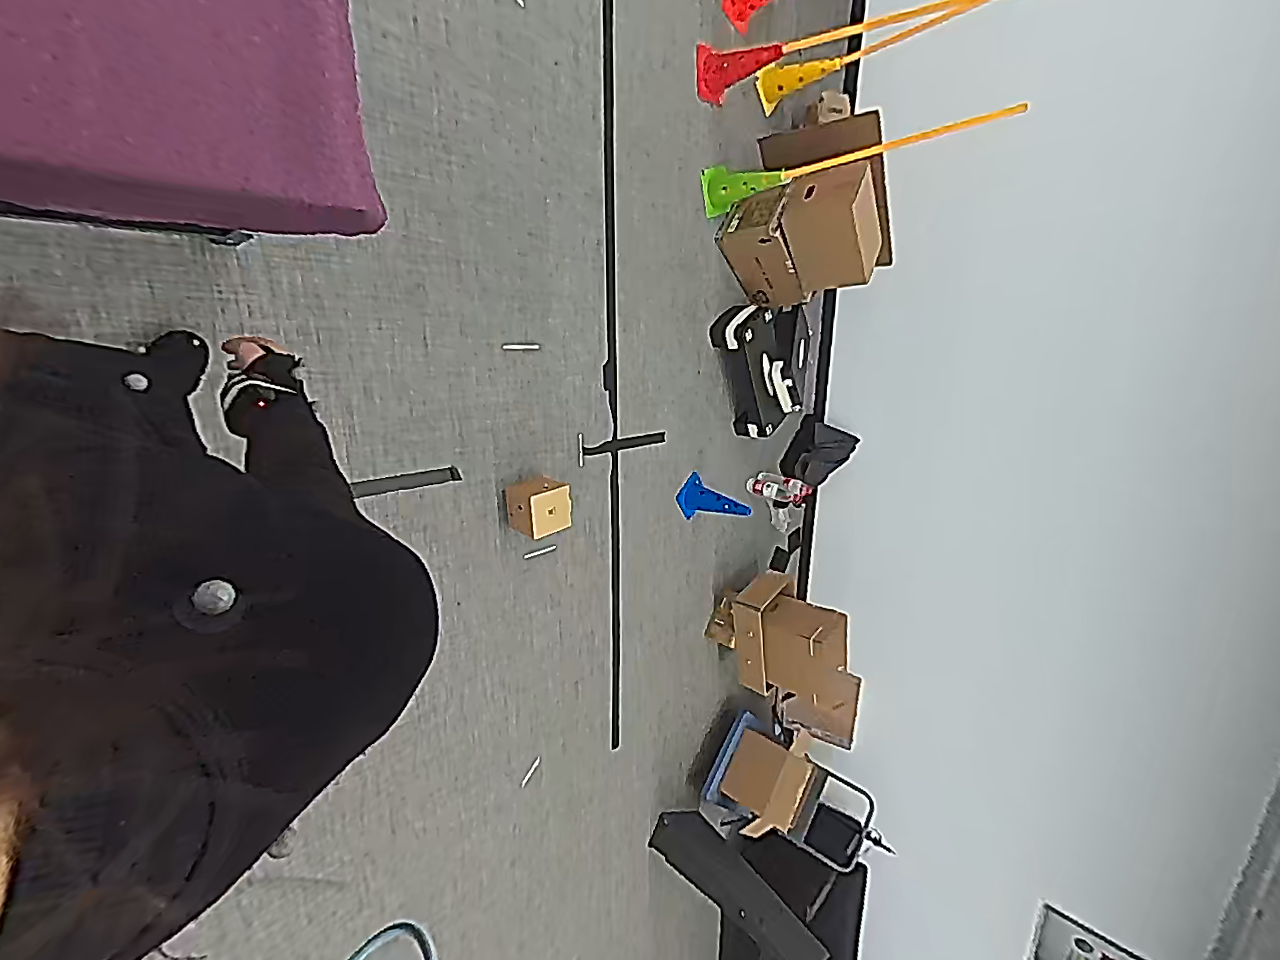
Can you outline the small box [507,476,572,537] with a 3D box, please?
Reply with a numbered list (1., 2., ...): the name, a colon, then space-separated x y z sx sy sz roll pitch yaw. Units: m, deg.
1. small box: -0.377 0.093 2.001 0.179 0.176 0.168 -20 116 -44
